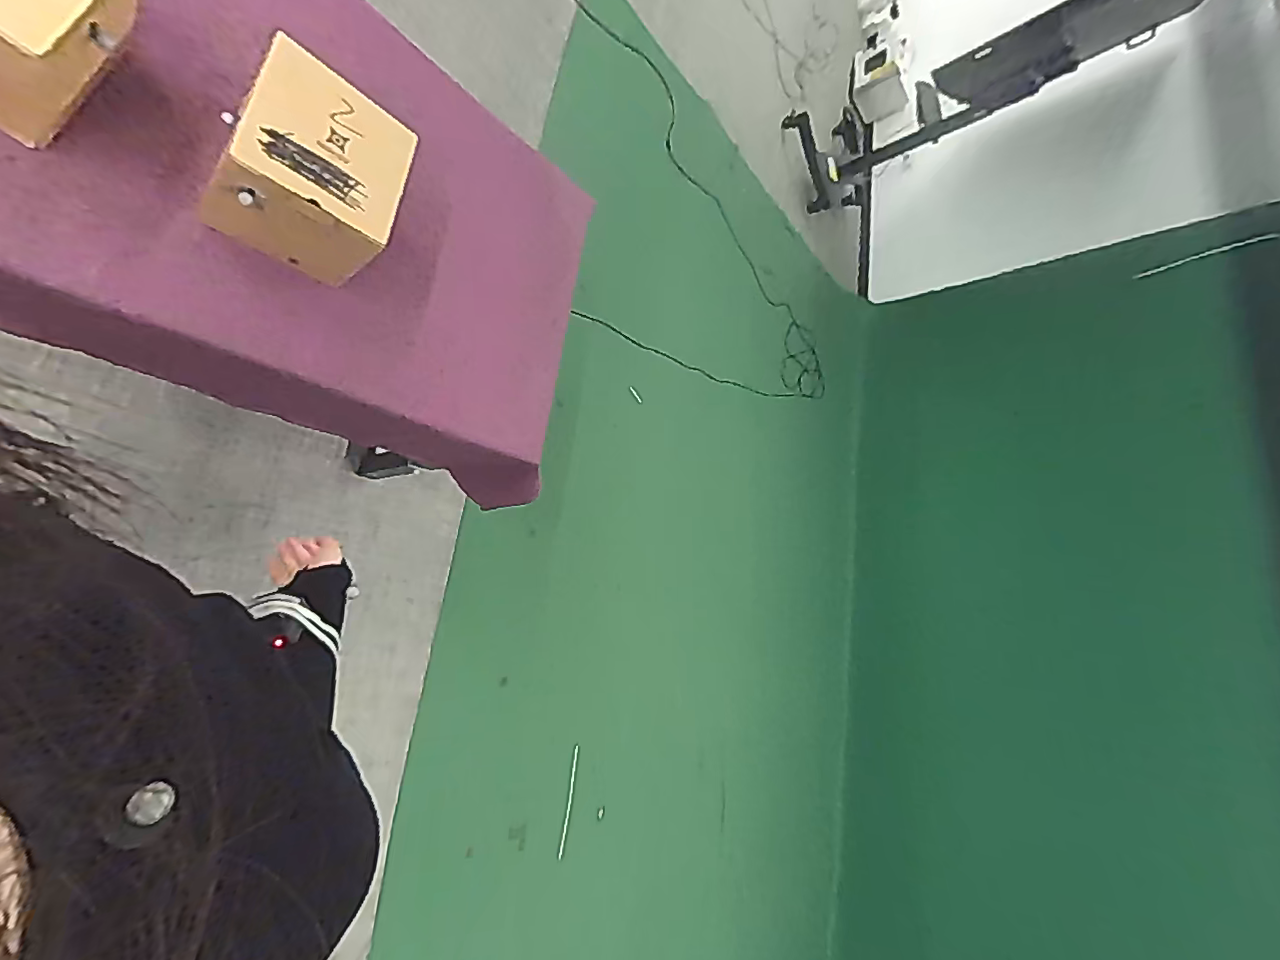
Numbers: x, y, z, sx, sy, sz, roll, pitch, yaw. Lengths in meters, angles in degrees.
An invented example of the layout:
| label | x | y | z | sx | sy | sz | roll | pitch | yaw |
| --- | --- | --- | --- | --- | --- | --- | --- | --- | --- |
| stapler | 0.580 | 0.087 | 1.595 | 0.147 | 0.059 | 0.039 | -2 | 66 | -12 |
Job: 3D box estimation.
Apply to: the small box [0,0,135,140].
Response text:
| label | x | y | z | sx | sy | sz | roll | pitch | yaw |
| --- | --- | --- | --- | --- | --- | --- | --- | --- | --- |
| small box | -0.611 | -0.470 | 0.498 | 0.168 | 0.176 | 0.179 | 33 | 64 | -42 |
